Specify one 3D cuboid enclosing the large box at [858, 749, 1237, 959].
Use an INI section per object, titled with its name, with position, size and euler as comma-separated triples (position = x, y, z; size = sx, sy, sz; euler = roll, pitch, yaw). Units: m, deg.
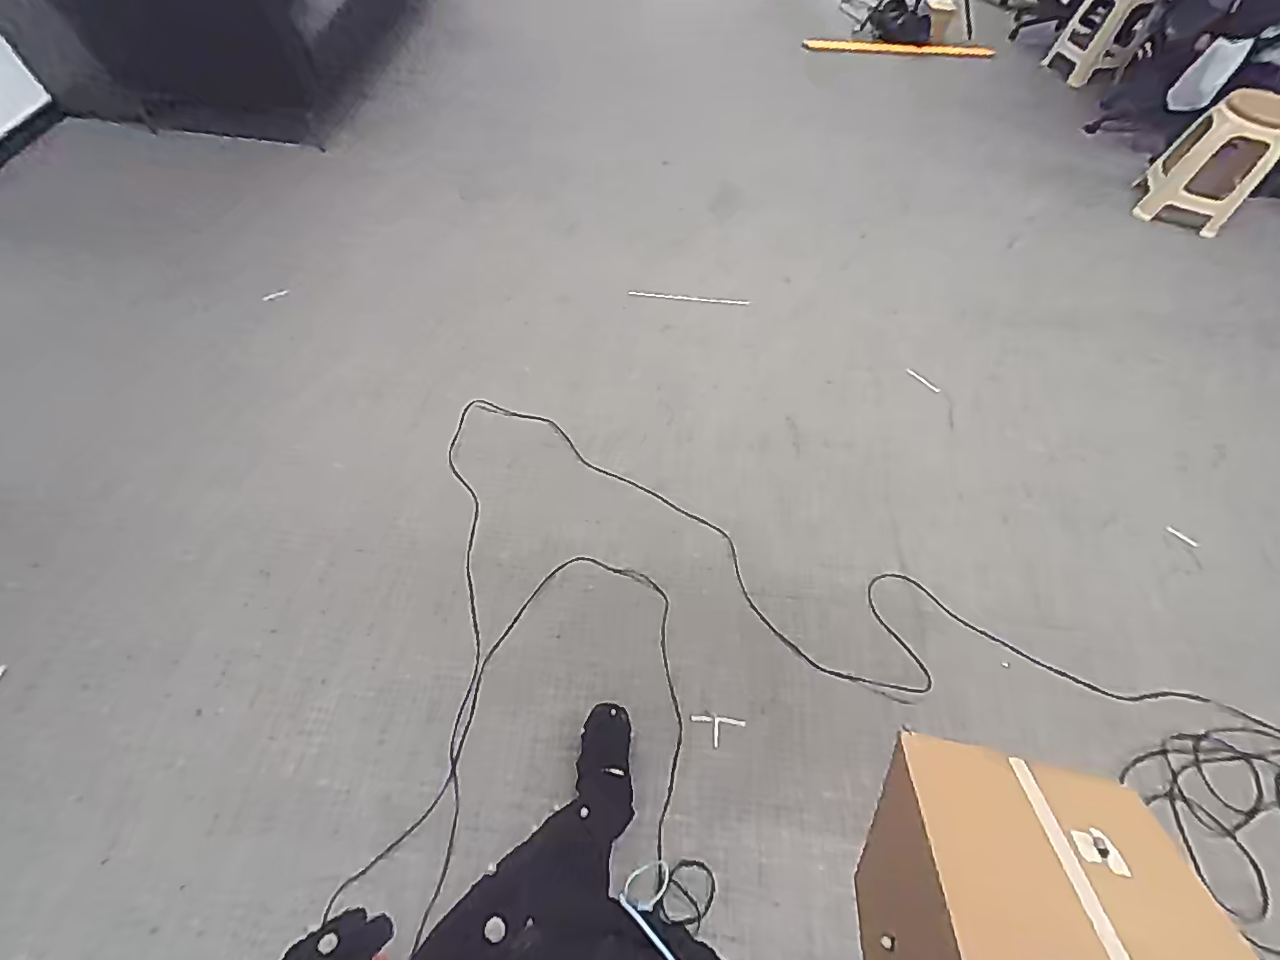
[large box]
position = 0.476, 0.628, 0.653
size = 0.320, 0.320, 0.408
euler = 11, 17, 12
